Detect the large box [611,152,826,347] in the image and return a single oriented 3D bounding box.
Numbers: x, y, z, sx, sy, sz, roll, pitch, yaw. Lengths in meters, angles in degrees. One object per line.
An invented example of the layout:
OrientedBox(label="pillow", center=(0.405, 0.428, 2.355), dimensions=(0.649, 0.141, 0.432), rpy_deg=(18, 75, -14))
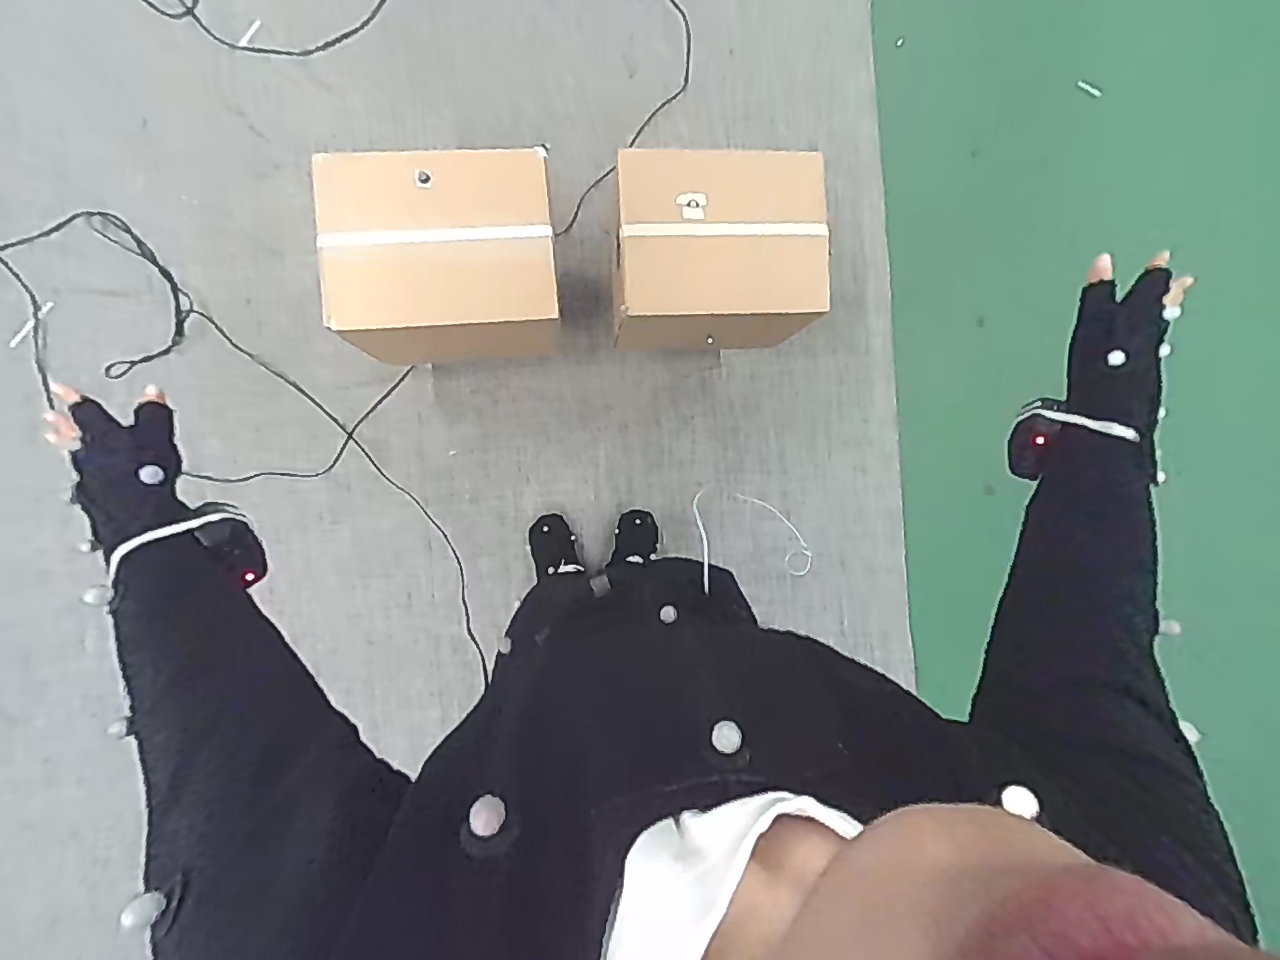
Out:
OrientedBox(label="large box", center=(0.150, -0.481, 1.190), dimensions=(0.408, 0.320, 0.320), rpy_deg=(-3, 91, -6))
